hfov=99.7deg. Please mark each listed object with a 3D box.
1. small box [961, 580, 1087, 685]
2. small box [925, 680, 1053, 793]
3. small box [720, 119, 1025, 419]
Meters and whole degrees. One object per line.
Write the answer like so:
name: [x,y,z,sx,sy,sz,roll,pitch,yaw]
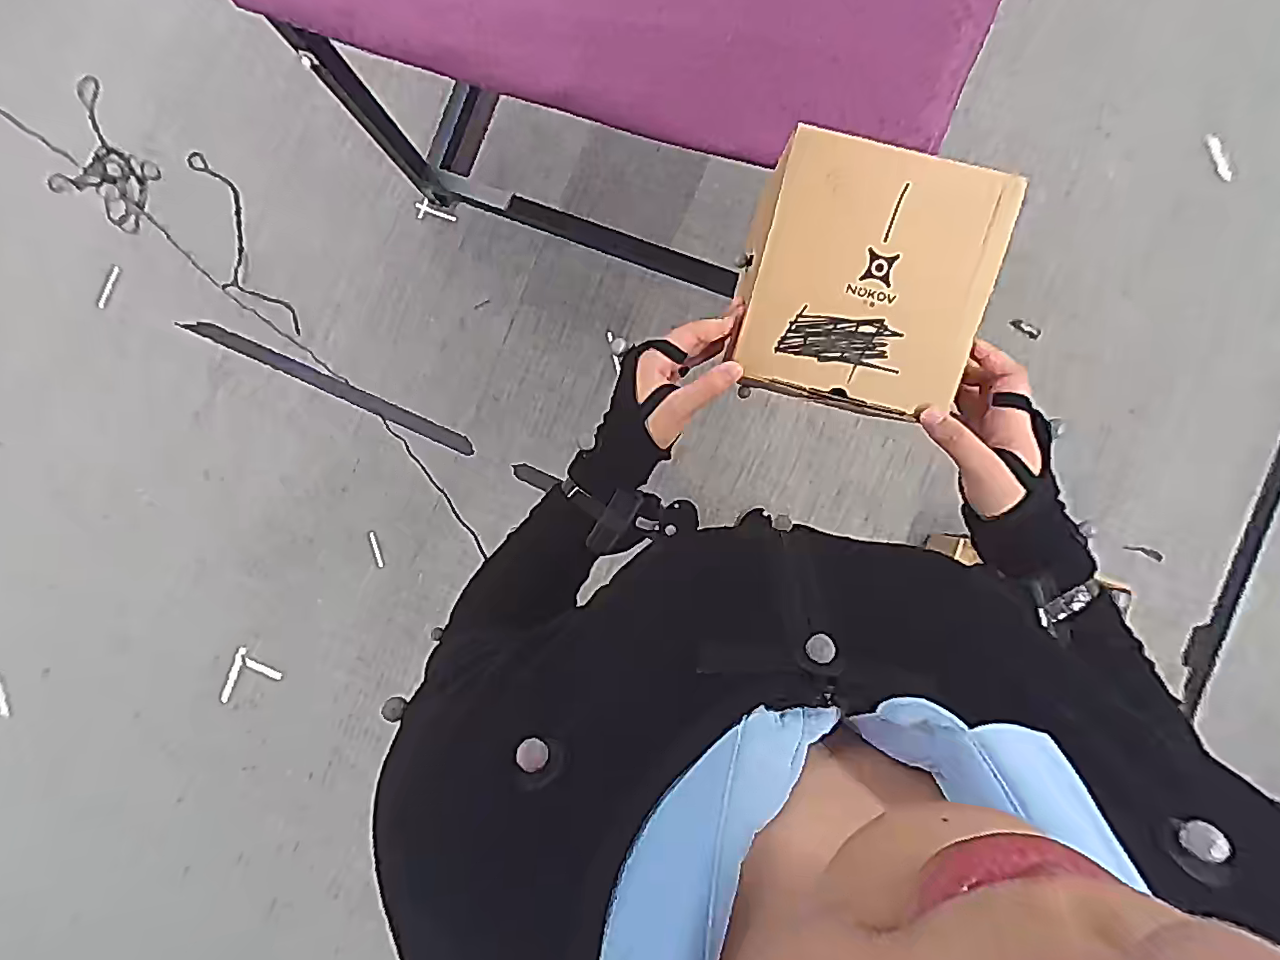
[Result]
small box: [0.907,0.357,1.297,0.168,0.176,0.179,16,91,5]
small box: [0.827,0.604,1.298,0.179,0.176,0.168,18,89,6]
small box: [0.171,-0.159,0.464,0.168,0.176,0.179,14,99,1]
